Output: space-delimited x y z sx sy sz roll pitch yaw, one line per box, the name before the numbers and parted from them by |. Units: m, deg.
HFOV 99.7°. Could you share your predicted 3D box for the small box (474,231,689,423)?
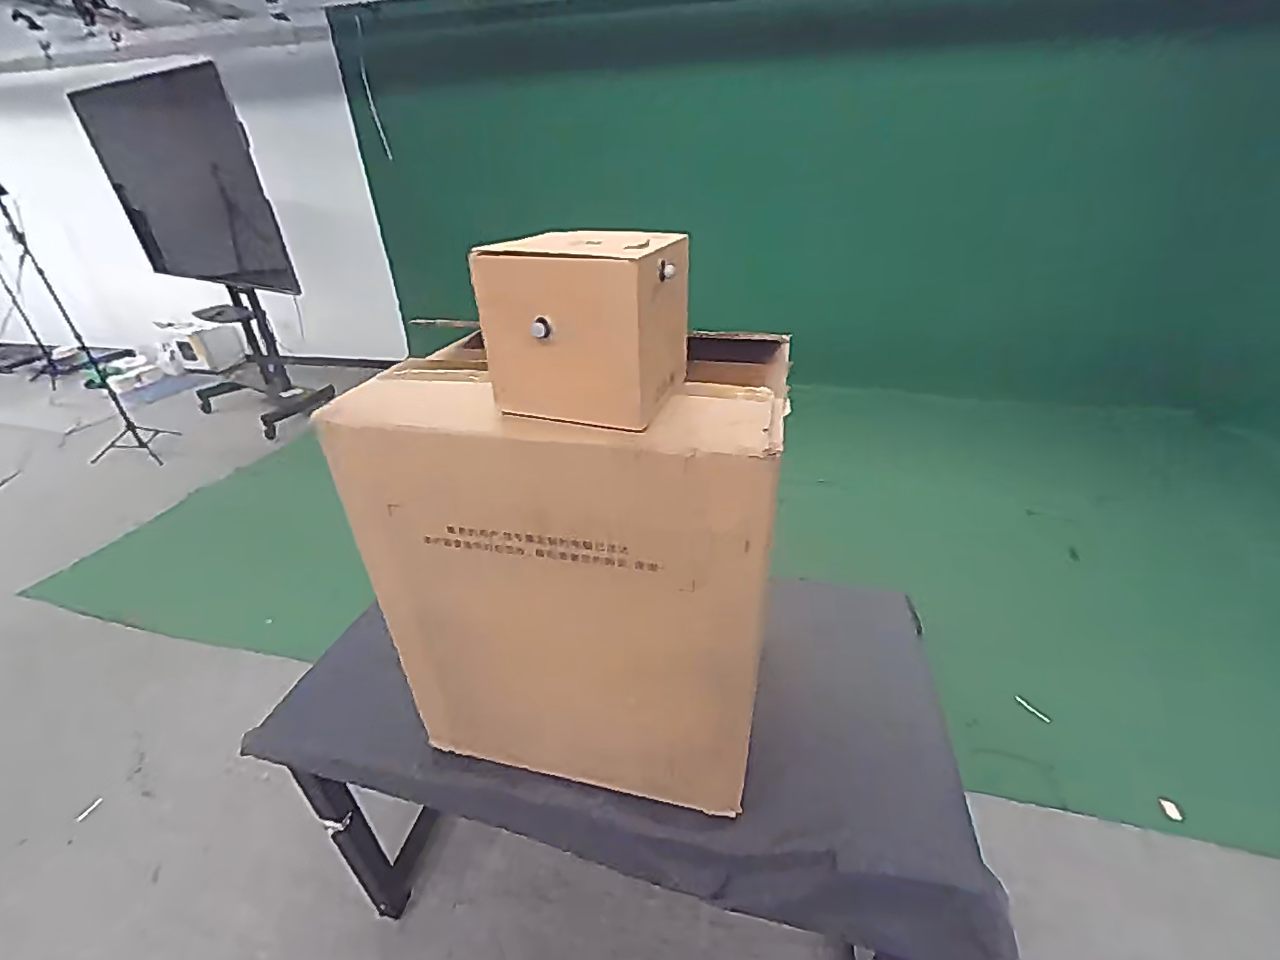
small box | -0.052 -0.175 0.601 0.179 0.176 0.168 10 33 18
